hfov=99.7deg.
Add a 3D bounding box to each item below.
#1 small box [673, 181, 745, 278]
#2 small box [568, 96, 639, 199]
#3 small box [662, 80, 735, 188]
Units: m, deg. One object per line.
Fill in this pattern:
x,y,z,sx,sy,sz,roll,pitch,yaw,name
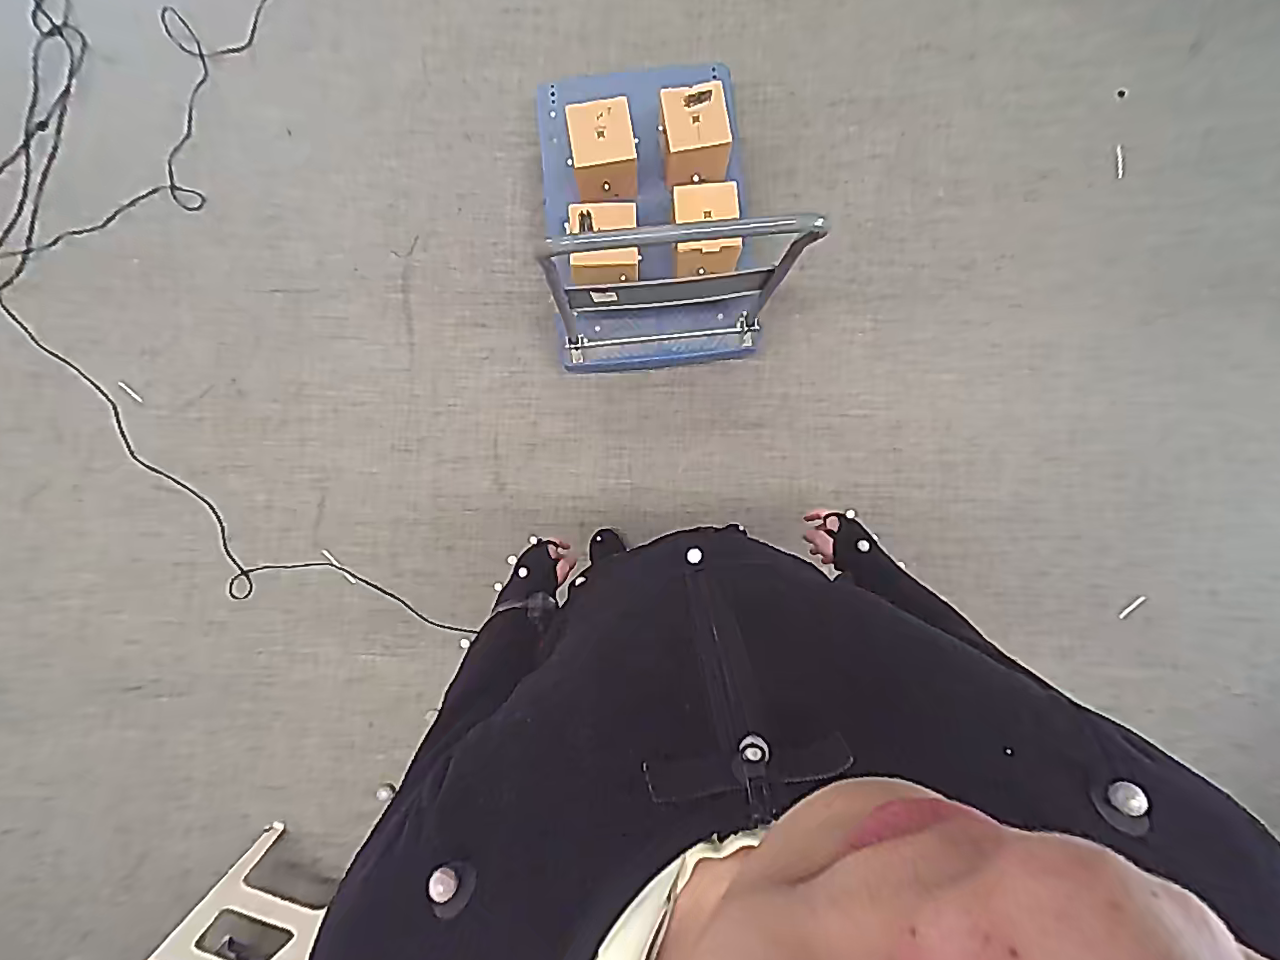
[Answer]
0.180,-0.669,1.458,0.168,0.176,0.179,-5,86,0,small box
-0.095,-0.896,1.476,0.168,0.176,0.179,-9,86,-1,small box
0.153,-0.937,1.476,0.168,0.176,0.179,-9,87,1,small box
